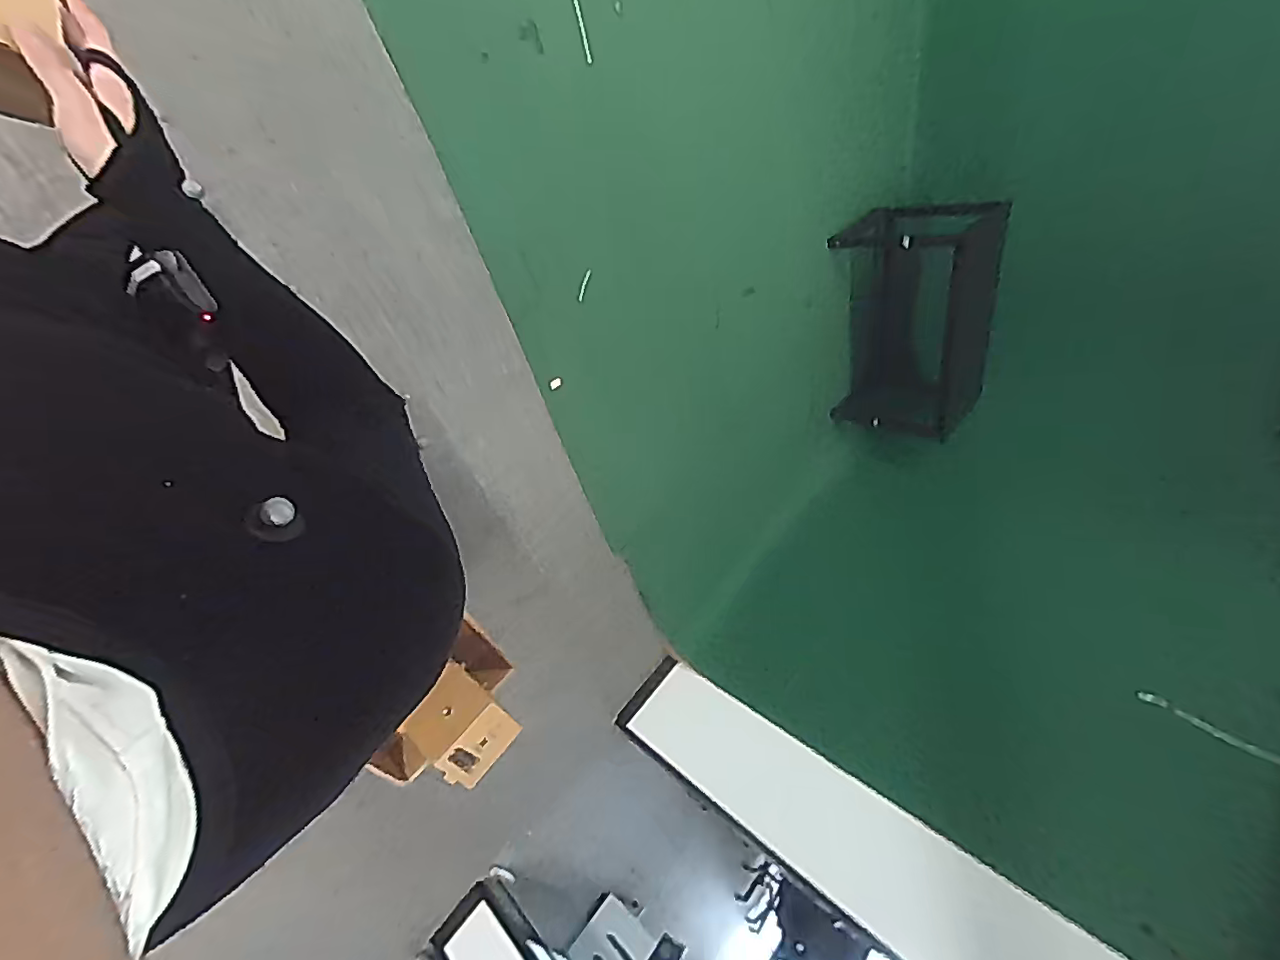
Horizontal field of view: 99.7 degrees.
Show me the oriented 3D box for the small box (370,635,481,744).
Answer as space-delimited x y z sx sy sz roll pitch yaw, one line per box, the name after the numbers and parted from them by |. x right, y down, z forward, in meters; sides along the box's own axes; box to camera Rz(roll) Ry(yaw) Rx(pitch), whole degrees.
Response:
-0.558 0.538 1.405 0.179 0.176 0.168 -48 137 -22 | small box

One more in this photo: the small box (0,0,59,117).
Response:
-0.556 -0.409 0.391 0.168 0.176 0.179 -10 104 -47 | small box
